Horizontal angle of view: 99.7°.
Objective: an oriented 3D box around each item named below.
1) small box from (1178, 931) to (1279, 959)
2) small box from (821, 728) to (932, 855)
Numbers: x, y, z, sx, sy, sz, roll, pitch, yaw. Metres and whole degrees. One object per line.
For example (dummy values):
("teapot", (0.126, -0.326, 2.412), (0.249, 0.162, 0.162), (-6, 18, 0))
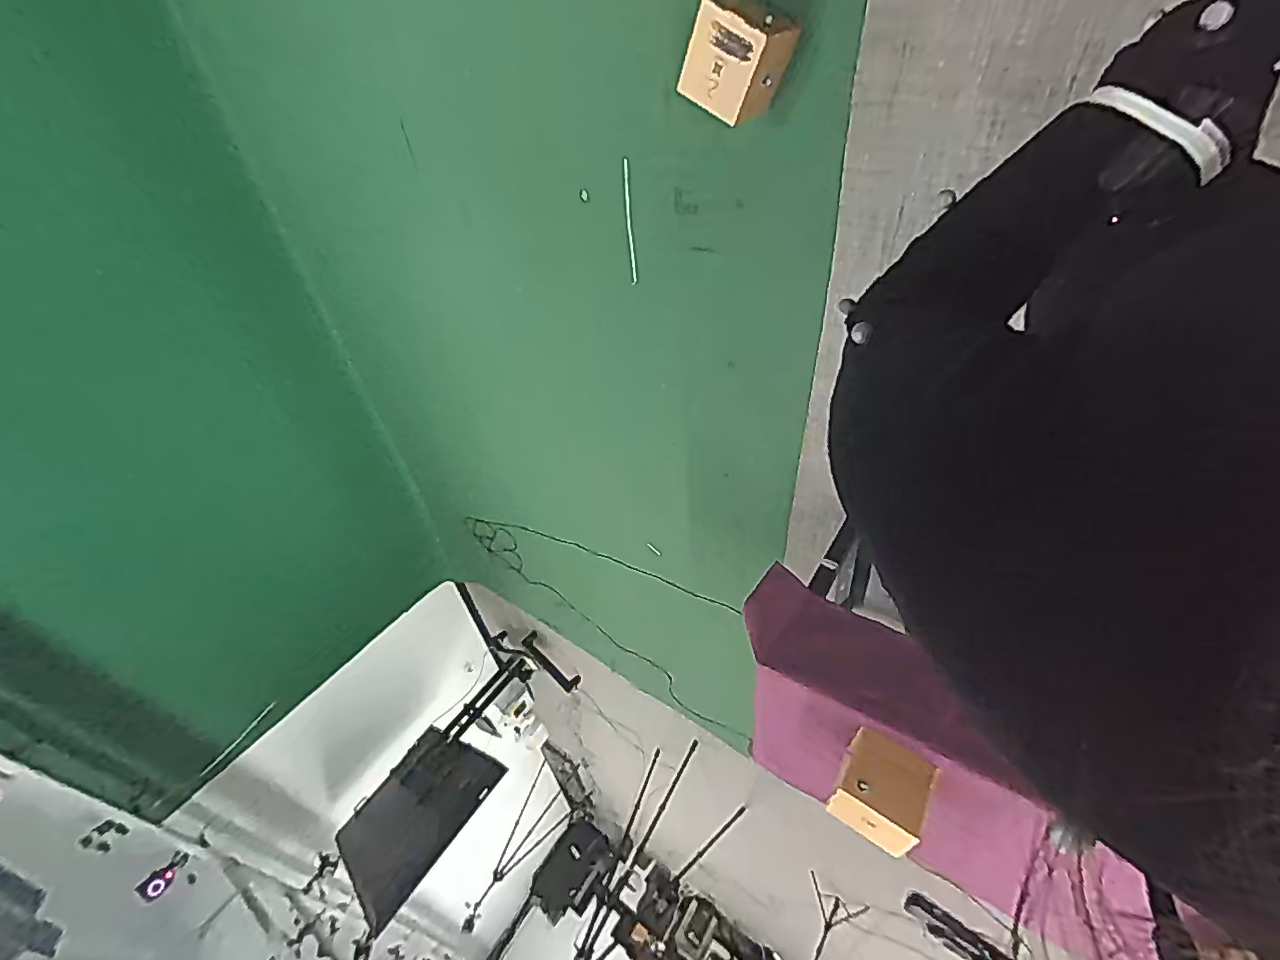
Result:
("small box", (1.089, 0.937, 0.935), (0.179, 0.176, 0.168), (27, 141, 25))
("small box", (0.552, 0.720, 1.261), (0.179, 0.176, 0.168), (26, 141, 26))
